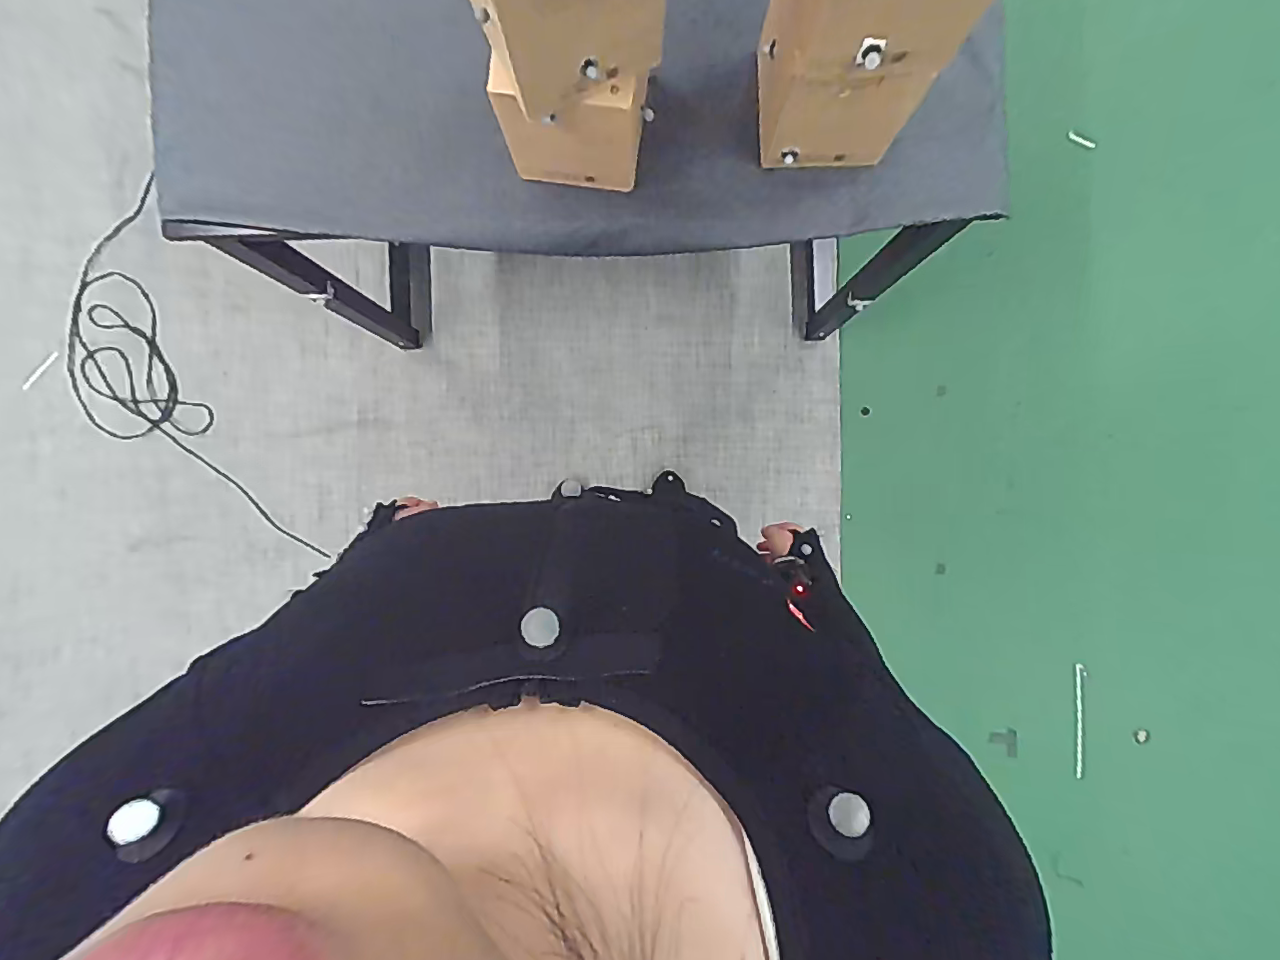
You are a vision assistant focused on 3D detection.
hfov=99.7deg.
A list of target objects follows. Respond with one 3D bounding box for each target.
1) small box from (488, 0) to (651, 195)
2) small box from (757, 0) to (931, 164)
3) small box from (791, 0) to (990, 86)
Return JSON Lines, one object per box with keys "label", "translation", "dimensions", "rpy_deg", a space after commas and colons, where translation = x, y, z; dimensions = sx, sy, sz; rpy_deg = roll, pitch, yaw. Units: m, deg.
{"label": "small box", "translation": [-0.080, -0.502, 0.688], "dimensions": [0.168, 0.176, 0.179], "rpy_deg": [7, 88, 0]}
{"label": "small box", "translation": [0.248, -0.530, 0.687], "dimensions": [0.168, 0.176, 0.179], "rpy_deg": [-1, 87, 1]}
{"label": "small box", "translation": [0.247, -0.532, 0.524], "dimensions": [0.168, 0.176, 0.179], "rpy_deg": [-5, 88, 1]}
